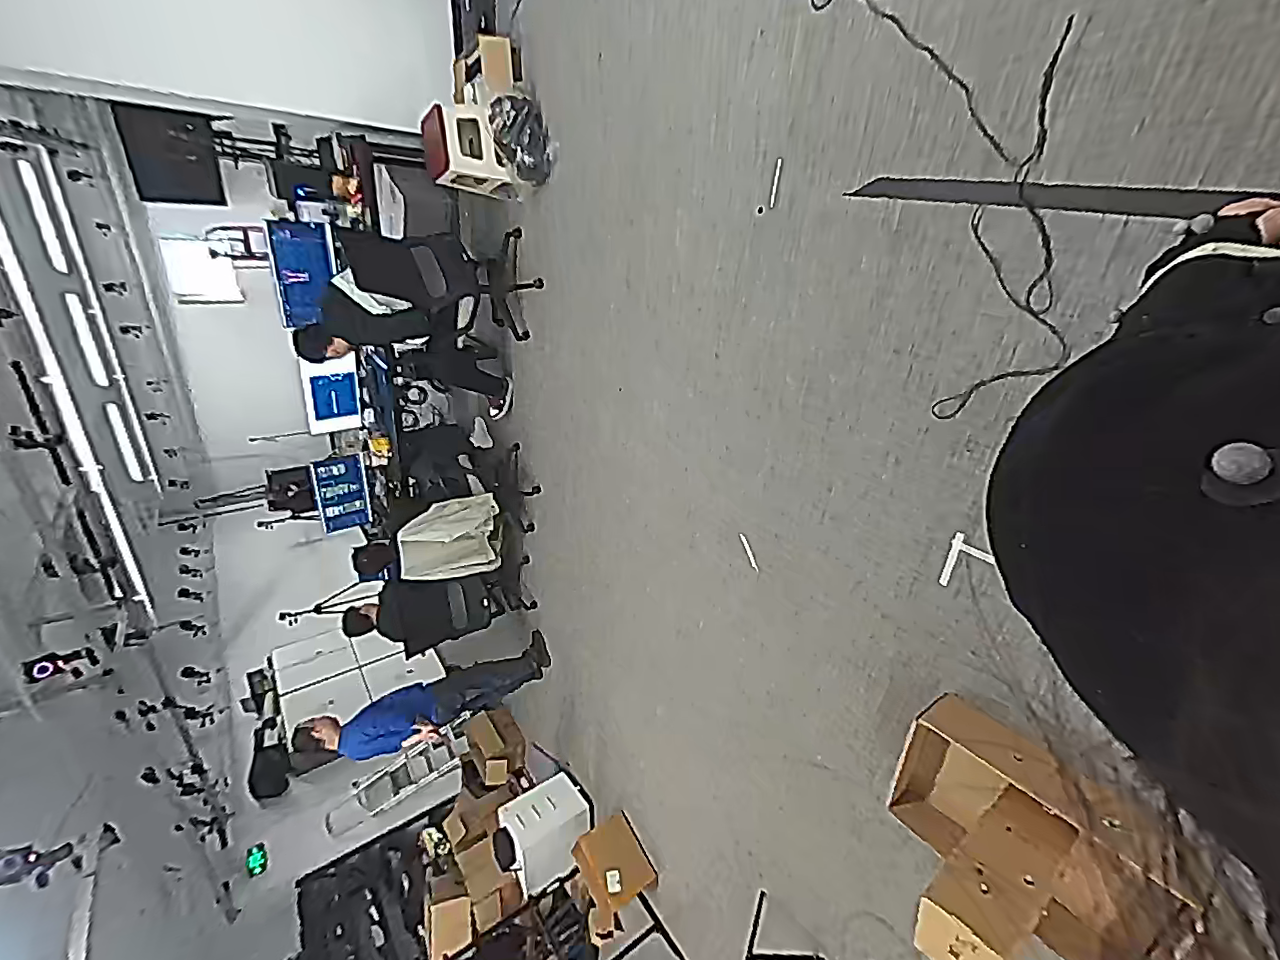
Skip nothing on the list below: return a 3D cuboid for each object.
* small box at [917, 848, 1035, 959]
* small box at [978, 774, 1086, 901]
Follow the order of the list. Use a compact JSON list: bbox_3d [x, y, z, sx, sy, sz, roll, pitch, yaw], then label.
[{"bbox_3d":[0.752,0.989,1.212,0.168,0.176,0.179,20,119,49],"label":"small box"},{"bbox_3d":[1.013,0.915,1.398,0.168,0.176,0.179,23,120,48],"label":"small box"}]
